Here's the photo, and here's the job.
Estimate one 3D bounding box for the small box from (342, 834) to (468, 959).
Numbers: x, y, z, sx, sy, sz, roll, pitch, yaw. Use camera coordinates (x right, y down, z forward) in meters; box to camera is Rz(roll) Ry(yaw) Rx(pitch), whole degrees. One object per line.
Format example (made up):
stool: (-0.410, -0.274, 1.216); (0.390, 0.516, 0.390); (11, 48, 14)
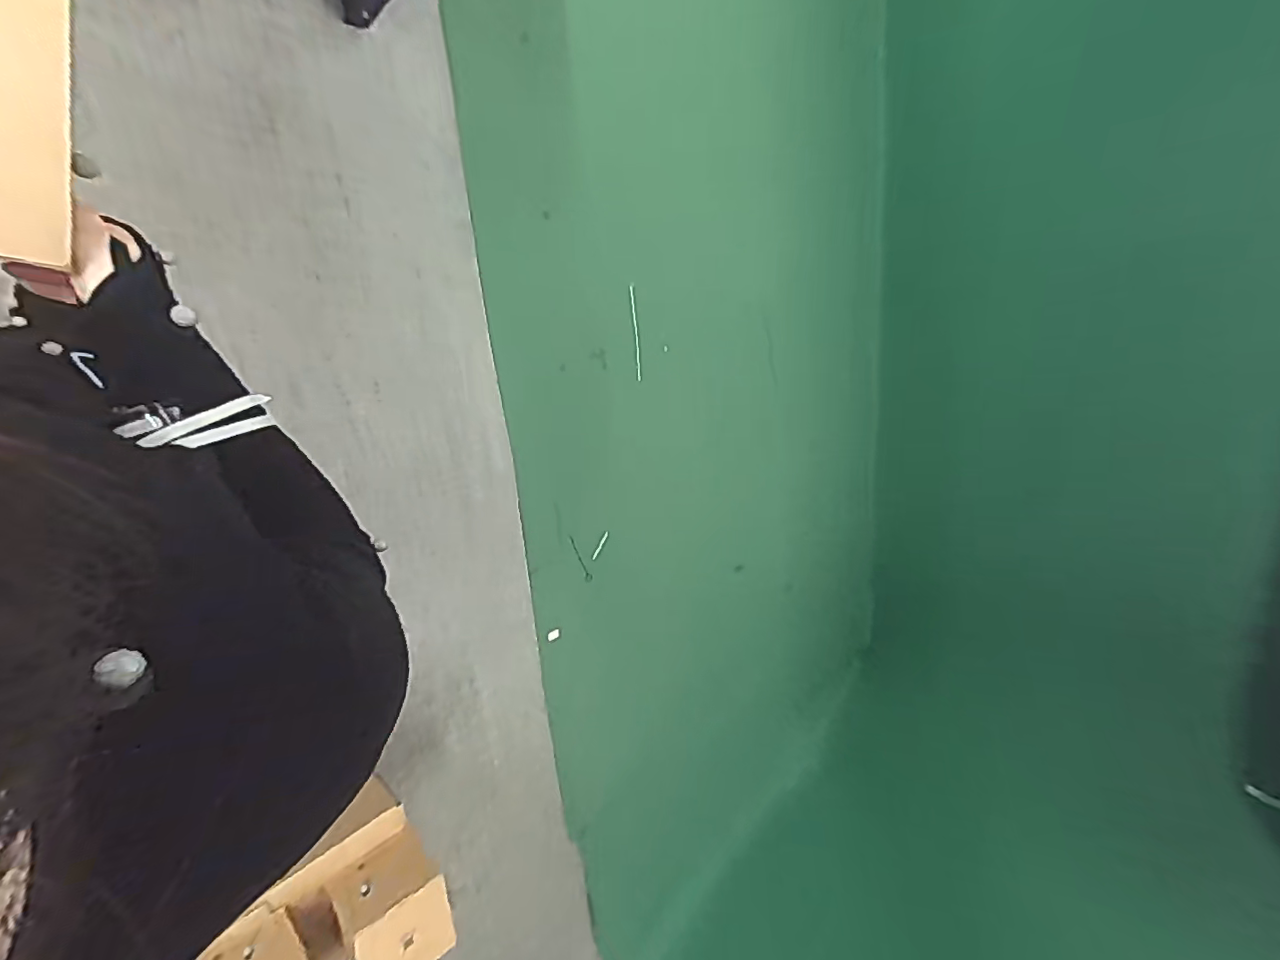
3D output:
small box: (-0.467, 0.848, 1.069); (0.168, 0.176, 0.179); (-17, 107, -42)

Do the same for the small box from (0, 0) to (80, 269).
small box: (-0.452, -0.237, 0.319); (0.168, 0.176, 0.179); (-3, 109, -46)

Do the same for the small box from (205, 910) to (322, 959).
small box: (-0.628, 0.889, 0.904); (0.168, 0.176, 0.179); (-12, 104, -46)
